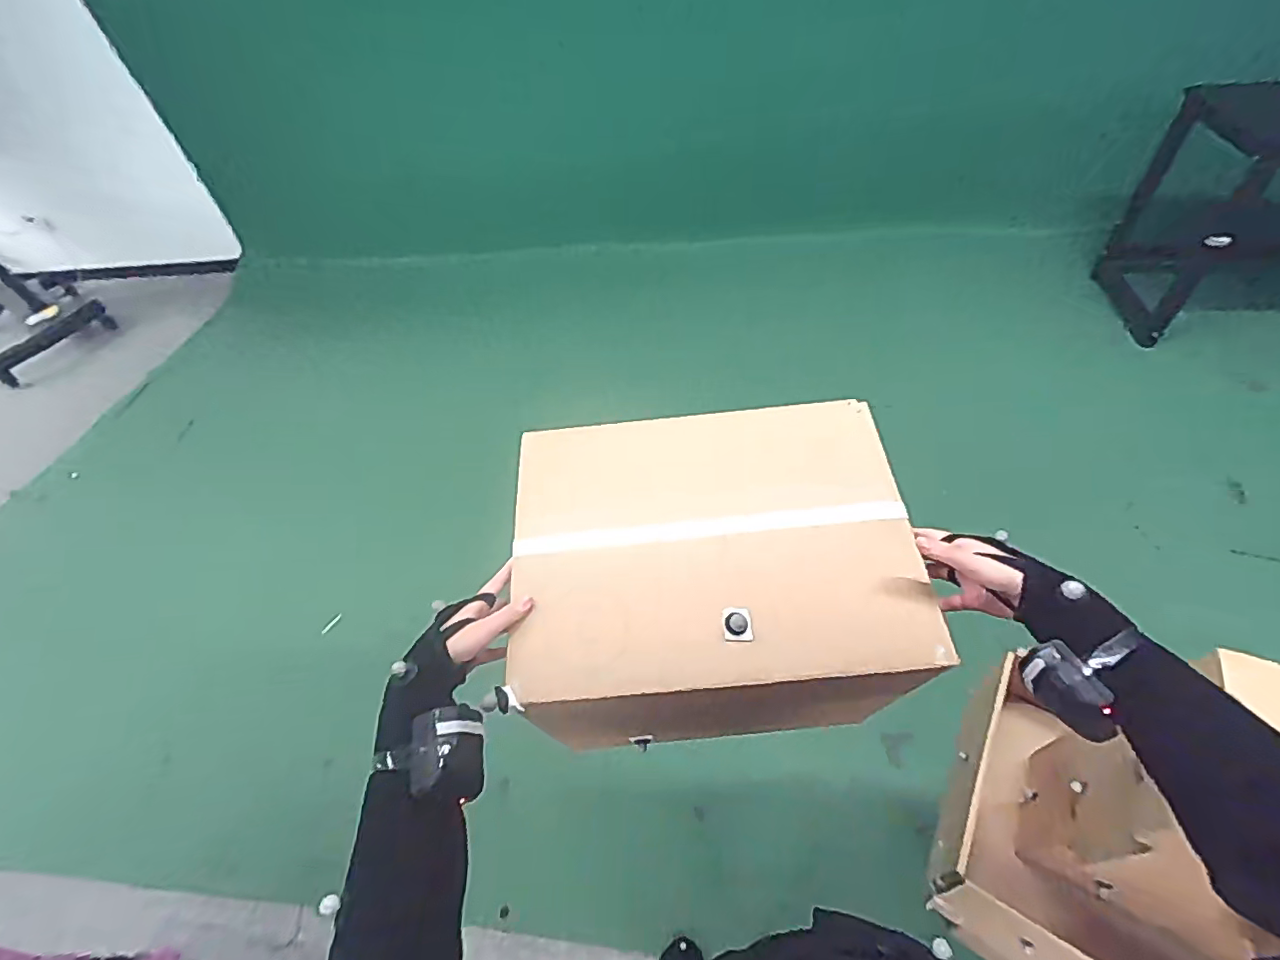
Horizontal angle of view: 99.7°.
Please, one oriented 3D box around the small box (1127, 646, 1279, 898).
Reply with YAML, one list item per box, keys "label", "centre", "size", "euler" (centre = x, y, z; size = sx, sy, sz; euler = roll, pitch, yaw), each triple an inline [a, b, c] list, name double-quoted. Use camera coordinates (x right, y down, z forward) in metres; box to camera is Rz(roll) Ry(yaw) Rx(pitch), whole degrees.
- label: "small box"
  centre: [0.640, 0.302, 0.540]
  size: [0.179, 0.176, 0.168]
  euler: [16, 52, 22]
